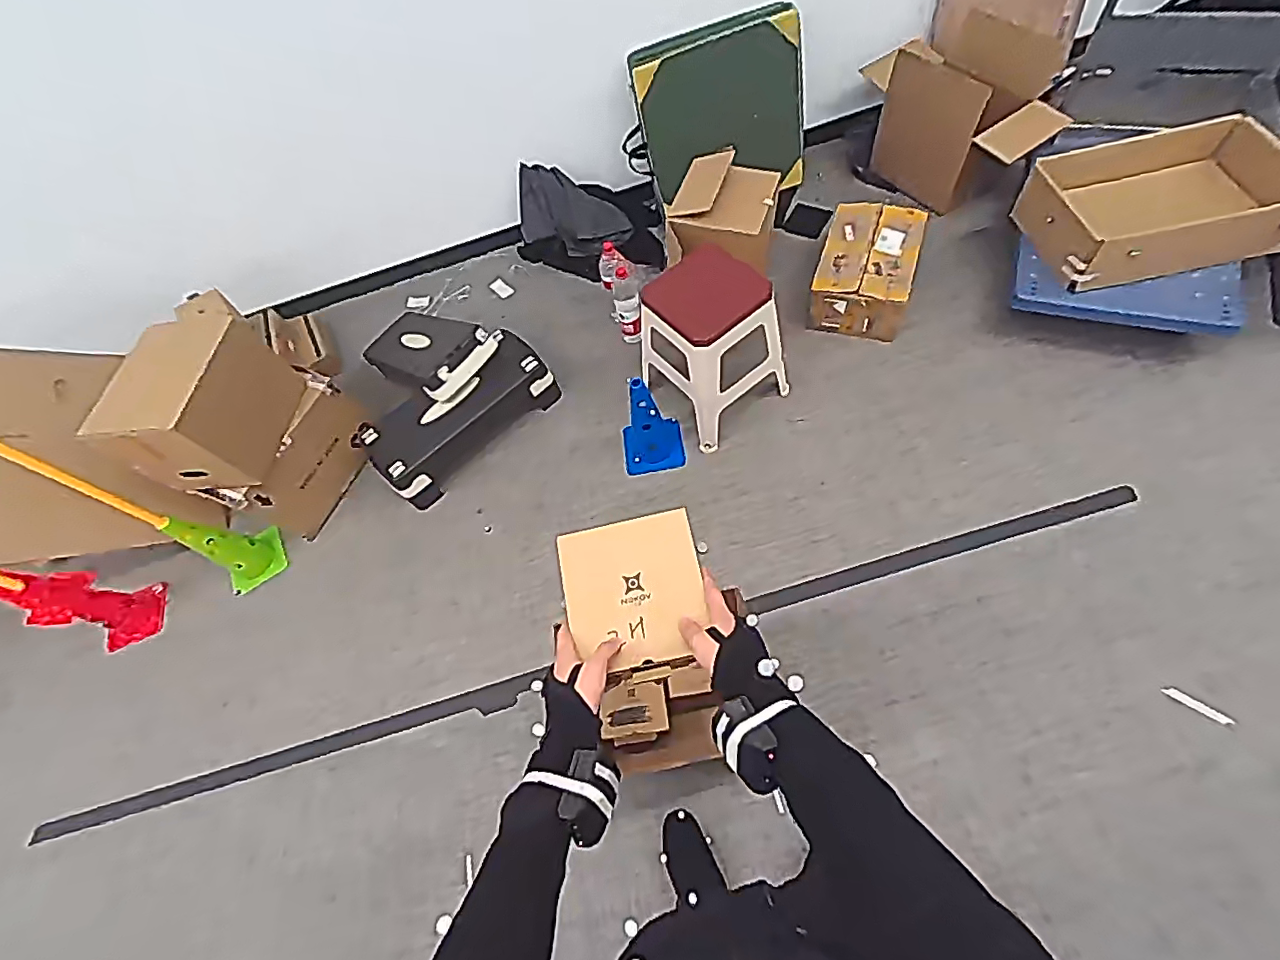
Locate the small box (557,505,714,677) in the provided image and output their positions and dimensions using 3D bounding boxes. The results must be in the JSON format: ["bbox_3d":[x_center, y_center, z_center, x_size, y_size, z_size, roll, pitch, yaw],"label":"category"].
[{"bbox_3d":[-0.002,0.154,0.711,0.168,0.176,0.179,-12,68,3],"label":"small box"}]
